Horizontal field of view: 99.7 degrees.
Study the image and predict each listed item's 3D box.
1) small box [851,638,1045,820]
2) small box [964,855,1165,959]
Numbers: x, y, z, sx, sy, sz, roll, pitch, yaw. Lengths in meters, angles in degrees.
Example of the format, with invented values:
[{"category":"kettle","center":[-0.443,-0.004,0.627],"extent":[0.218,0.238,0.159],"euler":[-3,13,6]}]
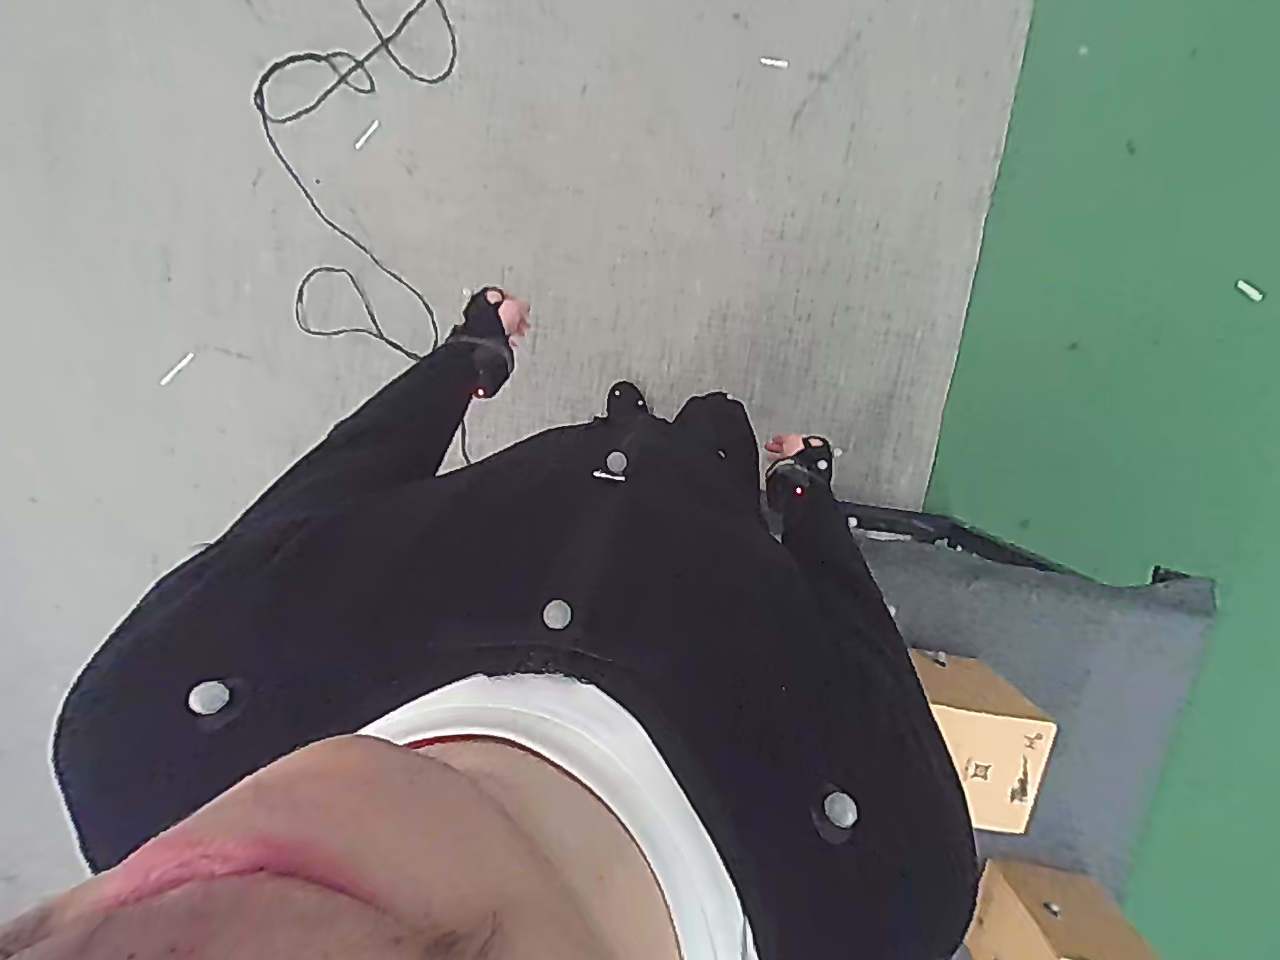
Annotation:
[{"category":"small box","center":[0.433,0.352,0.795],"extent":[0.179,0.176,0.168],"euler":[9,101,1]},{"category":"small box","center":[0.643,0.724,0.834],"extent":[0.179,0.176,0.168],"euler":[10,101,1]}]
